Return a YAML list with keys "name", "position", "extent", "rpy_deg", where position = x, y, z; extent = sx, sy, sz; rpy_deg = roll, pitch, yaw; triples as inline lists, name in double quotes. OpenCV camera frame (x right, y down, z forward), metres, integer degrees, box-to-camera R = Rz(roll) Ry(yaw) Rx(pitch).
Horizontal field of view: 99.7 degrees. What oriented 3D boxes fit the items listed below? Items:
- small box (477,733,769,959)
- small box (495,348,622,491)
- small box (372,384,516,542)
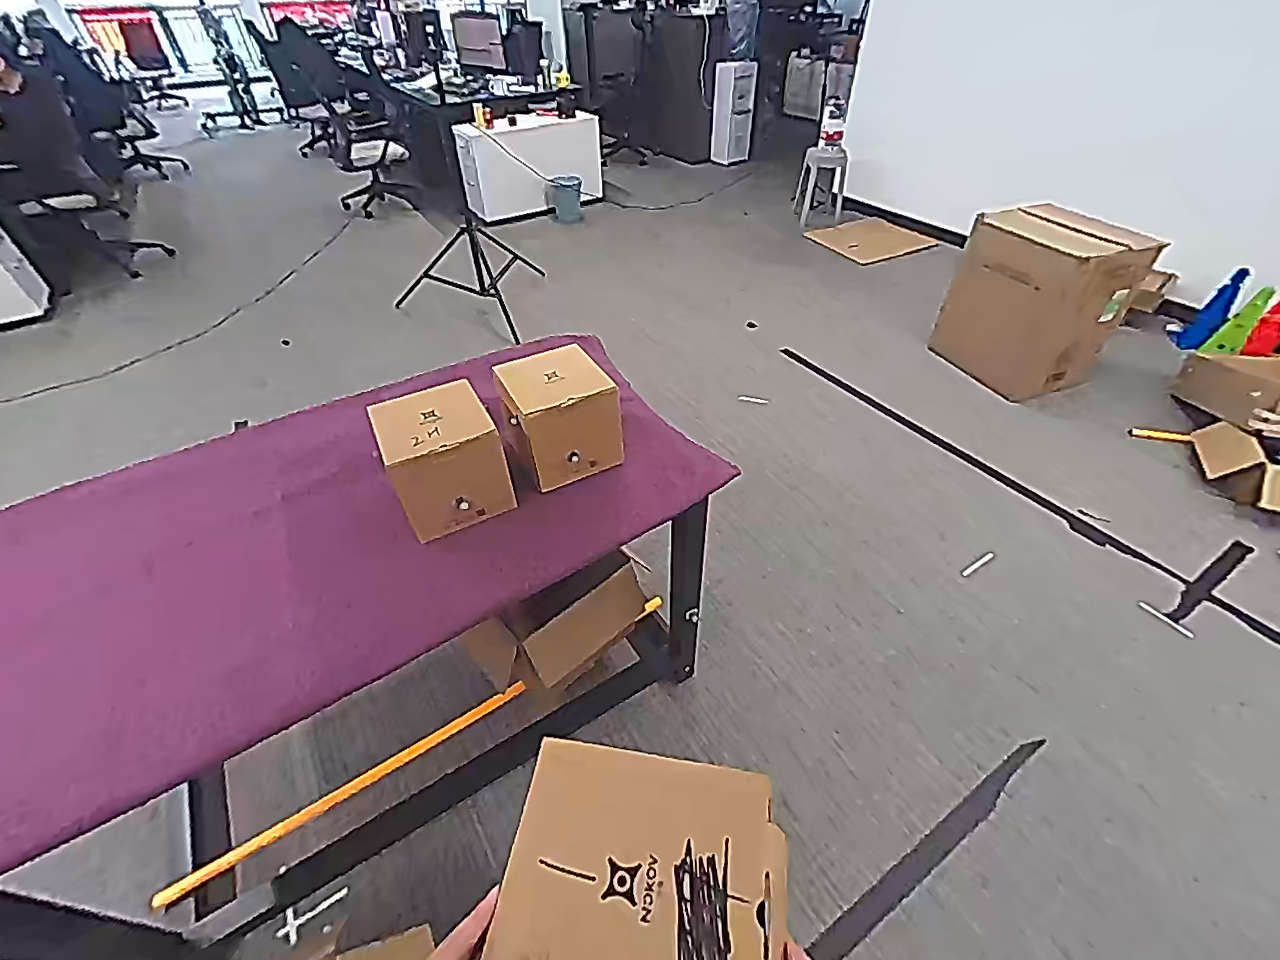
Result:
- name: "small box"
  position: [-0.002, 0.319, 0.411]
  extent: [0.179, 0.176, 0.168]
  rpy_deg: [5, 46, 9]
- name: "small box"
  position: [-0.144, -0.110, 0.978]
  extent: [0.168, 0.176, 0.179]
  rpy_deg: [-22, 46, -20]
- name: "small box"
  position: [-0.321, -0.029, 0.899]
  extent: [0.168, 0.176, 0.179]
  rpy_deg: [-22, 46, -20]
